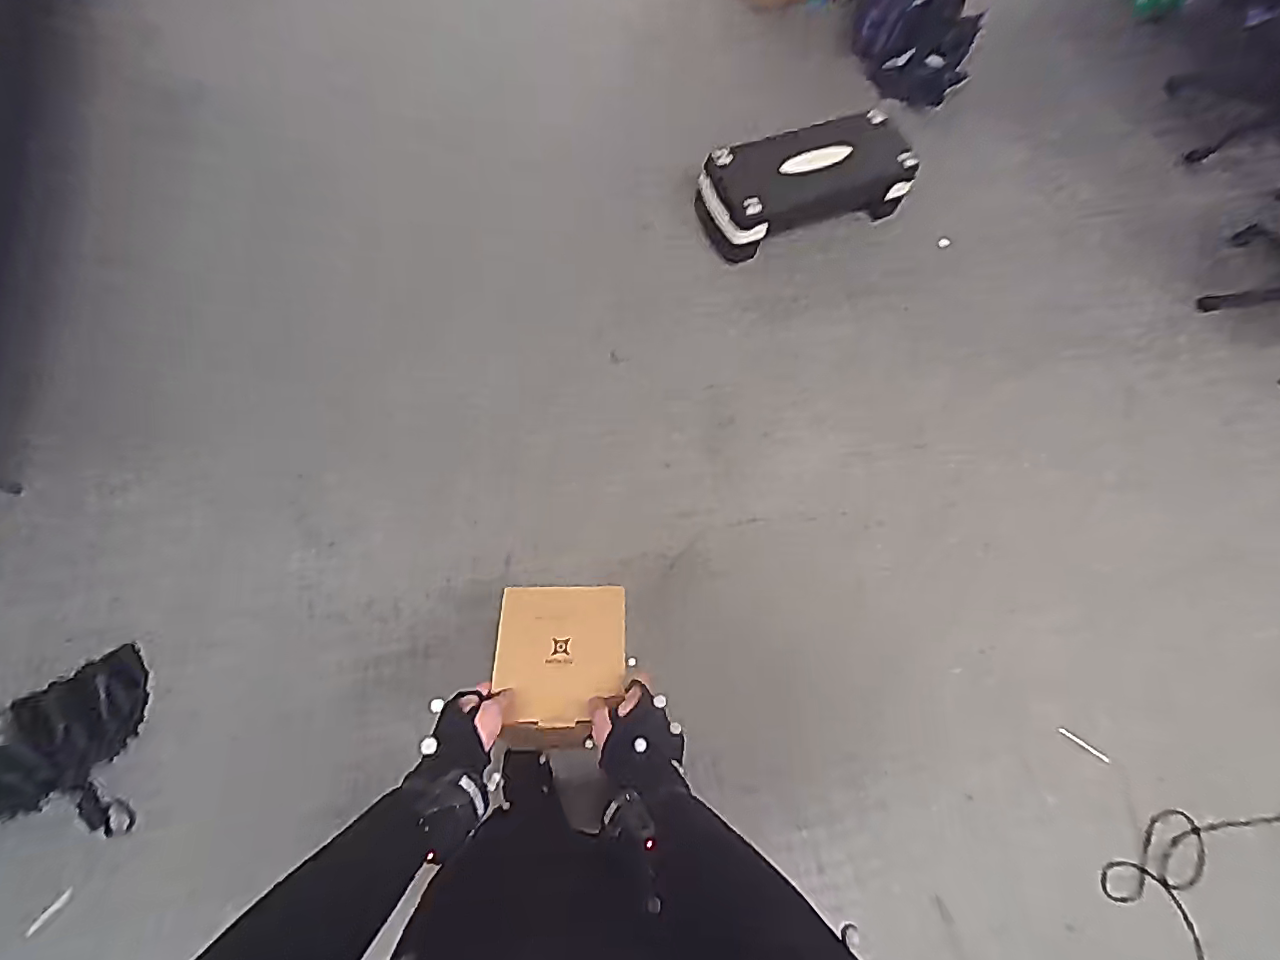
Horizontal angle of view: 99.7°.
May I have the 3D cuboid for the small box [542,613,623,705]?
[{"bbox_3d":[-0.136,0.425,1.287,0.168,0.176,0.179,-9,73,-6],"label":"small box"}]
